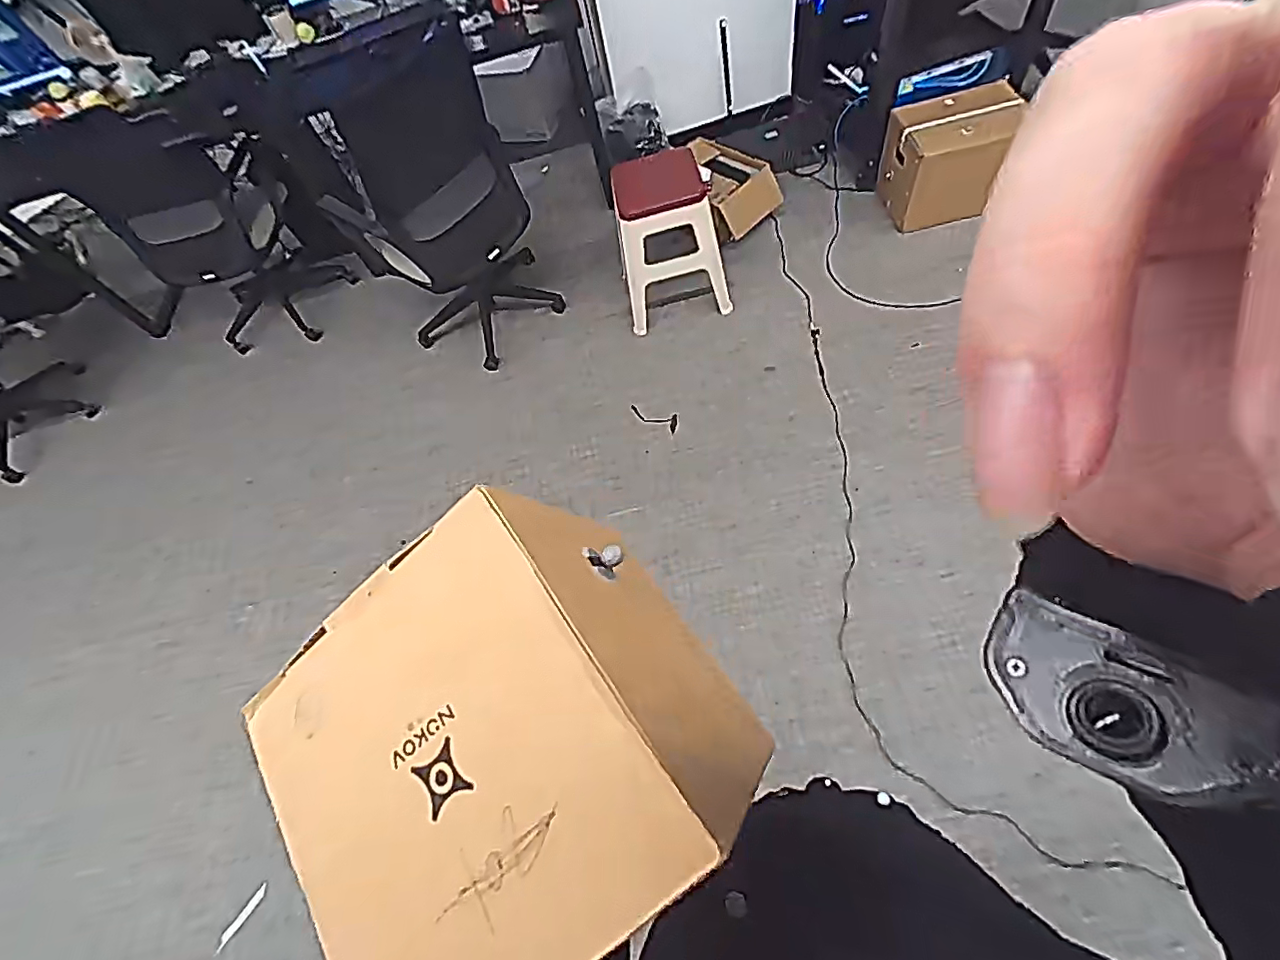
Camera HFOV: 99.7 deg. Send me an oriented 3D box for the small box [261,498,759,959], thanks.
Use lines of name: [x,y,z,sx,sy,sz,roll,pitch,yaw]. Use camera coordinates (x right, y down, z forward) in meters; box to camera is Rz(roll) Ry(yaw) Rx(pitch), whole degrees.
small box: [-0.056,0.139,0.306,0.168,0.176,0.179,-42,68,7]
